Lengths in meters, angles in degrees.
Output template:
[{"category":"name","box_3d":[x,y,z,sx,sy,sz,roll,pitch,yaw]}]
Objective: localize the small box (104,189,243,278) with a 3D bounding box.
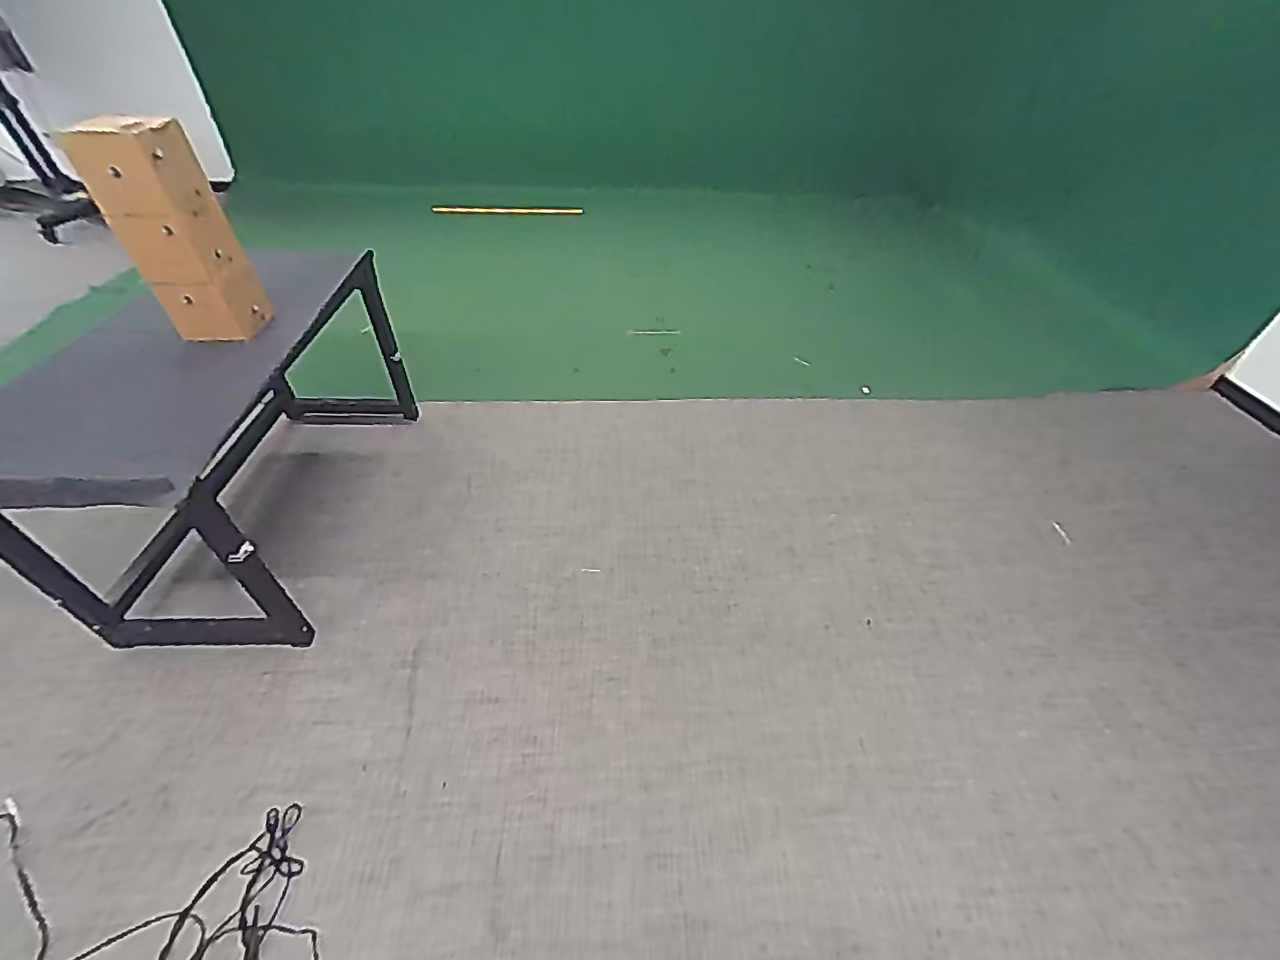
[{"category":"small box","box_3d":[-1.174,-0.628,1.378,0.179,0.176,0.168,0,43,-2]}]

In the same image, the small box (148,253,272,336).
[{"category":"small box","box_3d":[-1.172,-0.512,1.491,0.179,0.176,0.168,0,44,-2]}]
